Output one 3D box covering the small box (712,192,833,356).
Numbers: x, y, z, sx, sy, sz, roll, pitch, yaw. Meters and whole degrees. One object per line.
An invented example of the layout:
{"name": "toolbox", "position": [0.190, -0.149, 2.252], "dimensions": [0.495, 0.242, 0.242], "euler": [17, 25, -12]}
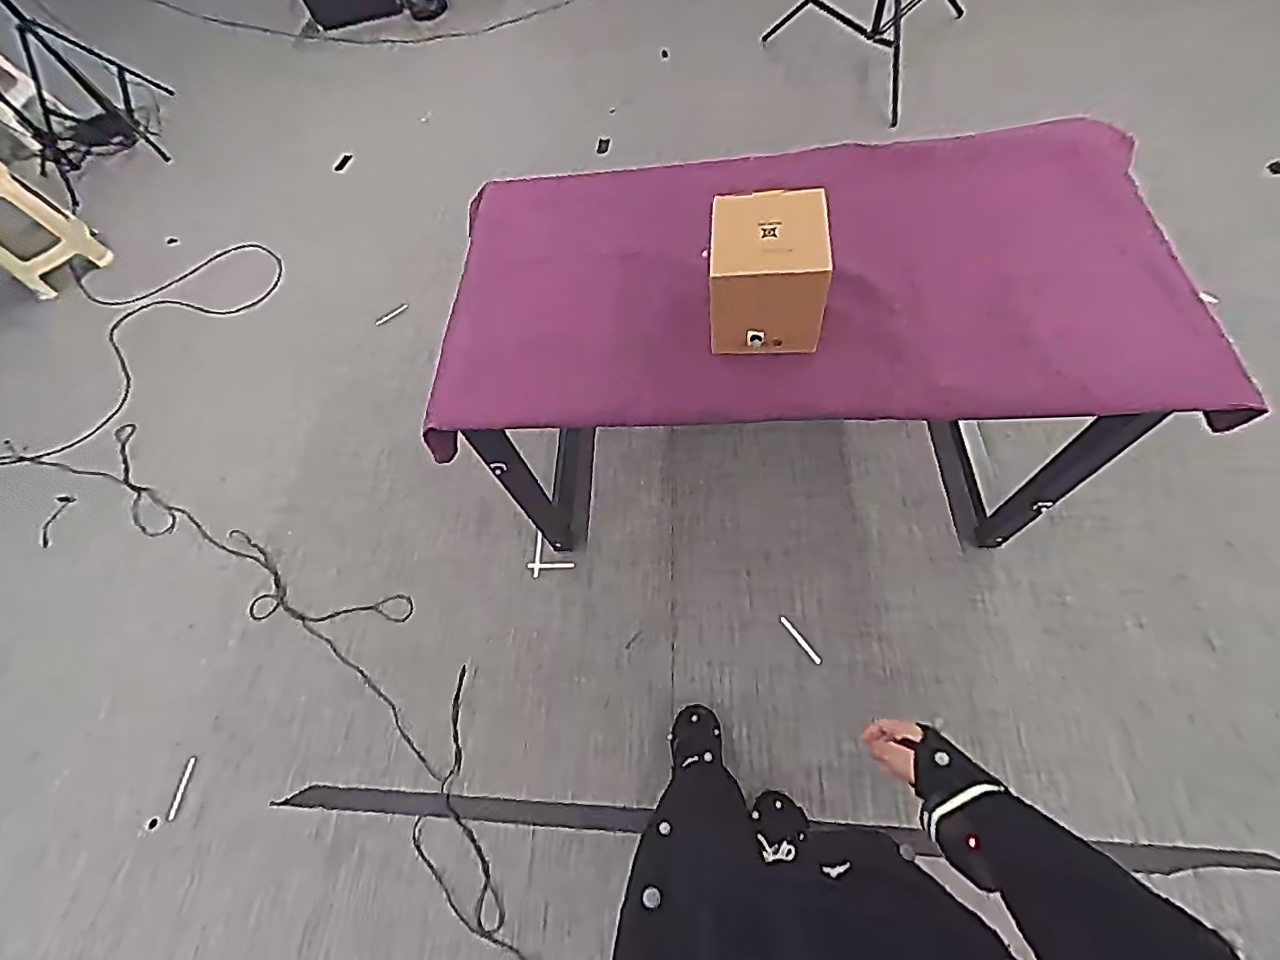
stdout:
{"name": "small box", "position": [0.198, -0.316, 0.847], "dimensions": [0.168, 0.176, 0.179], "euler": [0, 63, 10]}
